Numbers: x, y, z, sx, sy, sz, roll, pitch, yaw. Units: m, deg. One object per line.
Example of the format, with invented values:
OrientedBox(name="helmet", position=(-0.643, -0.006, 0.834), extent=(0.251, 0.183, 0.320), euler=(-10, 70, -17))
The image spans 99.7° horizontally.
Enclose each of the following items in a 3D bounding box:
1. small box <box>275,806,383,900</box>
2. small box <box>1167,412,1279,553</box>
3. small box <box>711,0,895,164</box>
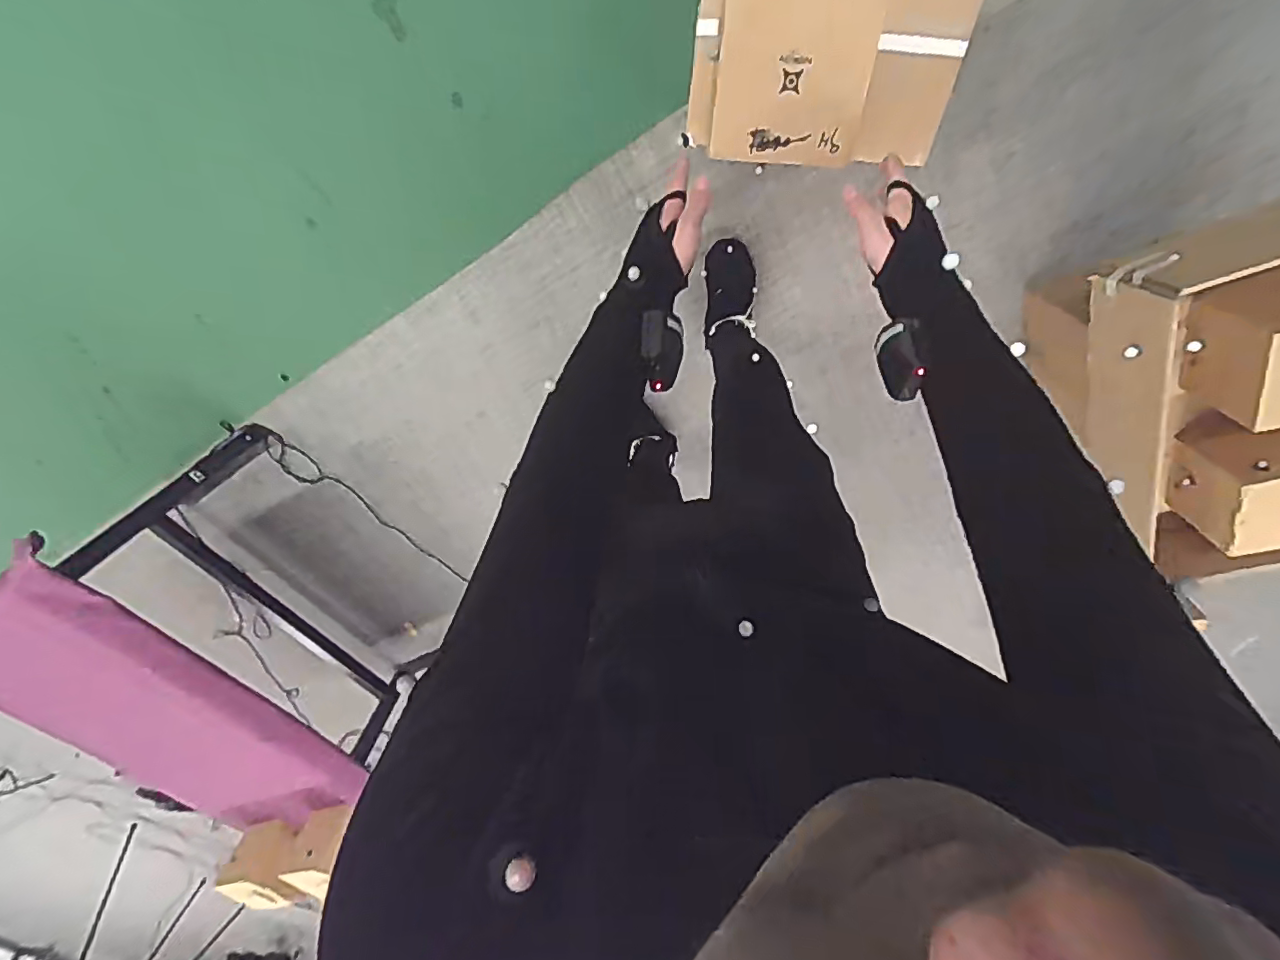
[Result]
OrientedBox(name="small box", position=(-0.856, 1.042, 1.516), extent=(0.179, 0.176, 0.168), euler=(-24, 118, 22))
OrientedBox(name="small box", position=(1.095, -0.002, 0.949), extent=(0.179, 0.176, 0.168), euler=(-16, 122, 18))
OrientedBox(name="small box", position=(0.176, -0.488, 0.641), extent=(0.168, 0.176, 0.179), euler=(6, 125, 2))
